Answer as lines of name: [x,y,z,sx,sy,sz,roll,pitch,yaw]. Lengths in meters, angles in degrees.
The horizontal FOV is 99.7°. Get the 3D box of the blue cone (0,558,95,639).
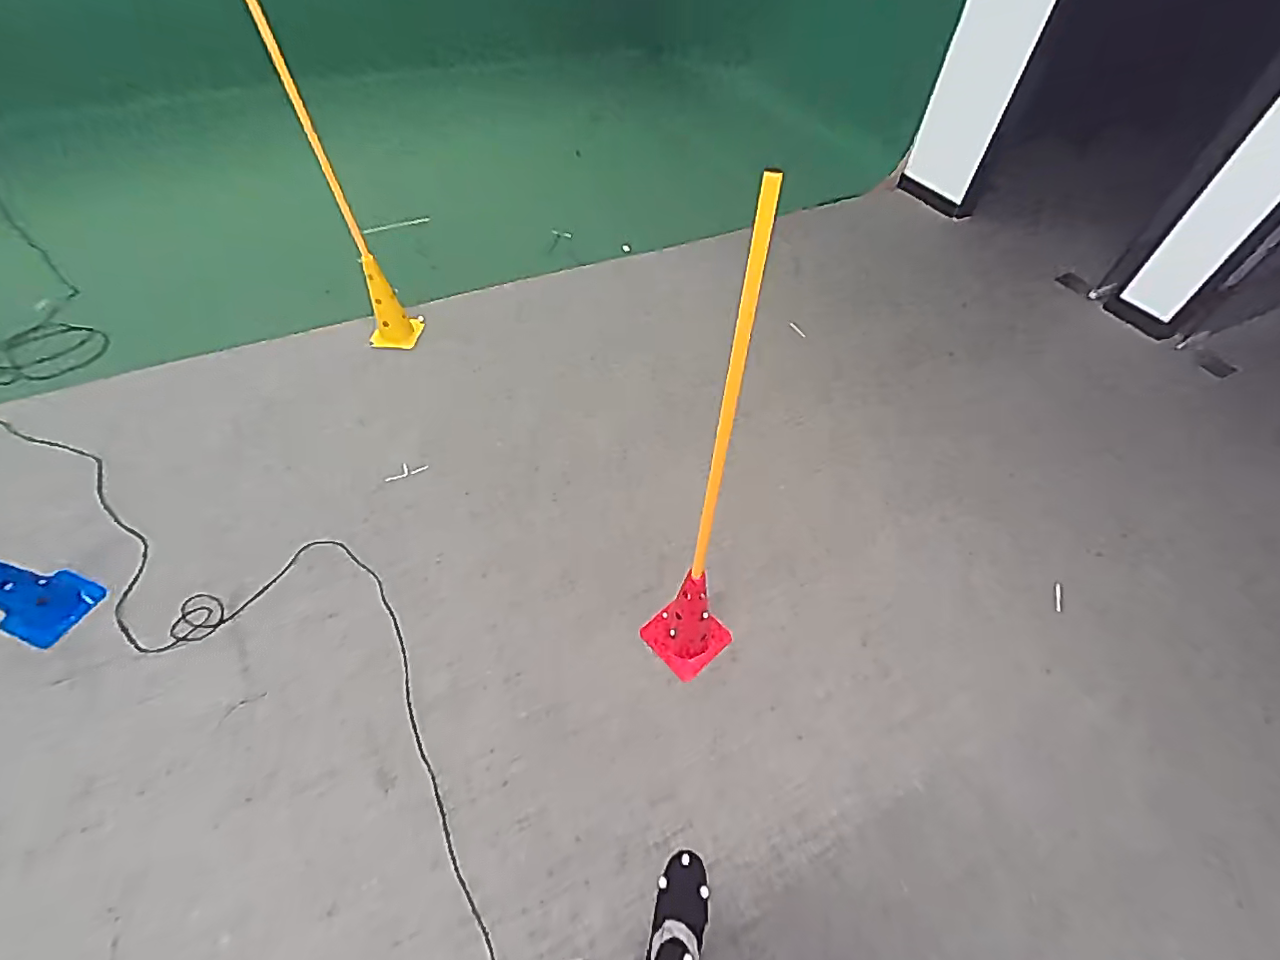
blue cone: [-1.687,0.252,1.410,0.192,0.380,0.193,17,55,10]
